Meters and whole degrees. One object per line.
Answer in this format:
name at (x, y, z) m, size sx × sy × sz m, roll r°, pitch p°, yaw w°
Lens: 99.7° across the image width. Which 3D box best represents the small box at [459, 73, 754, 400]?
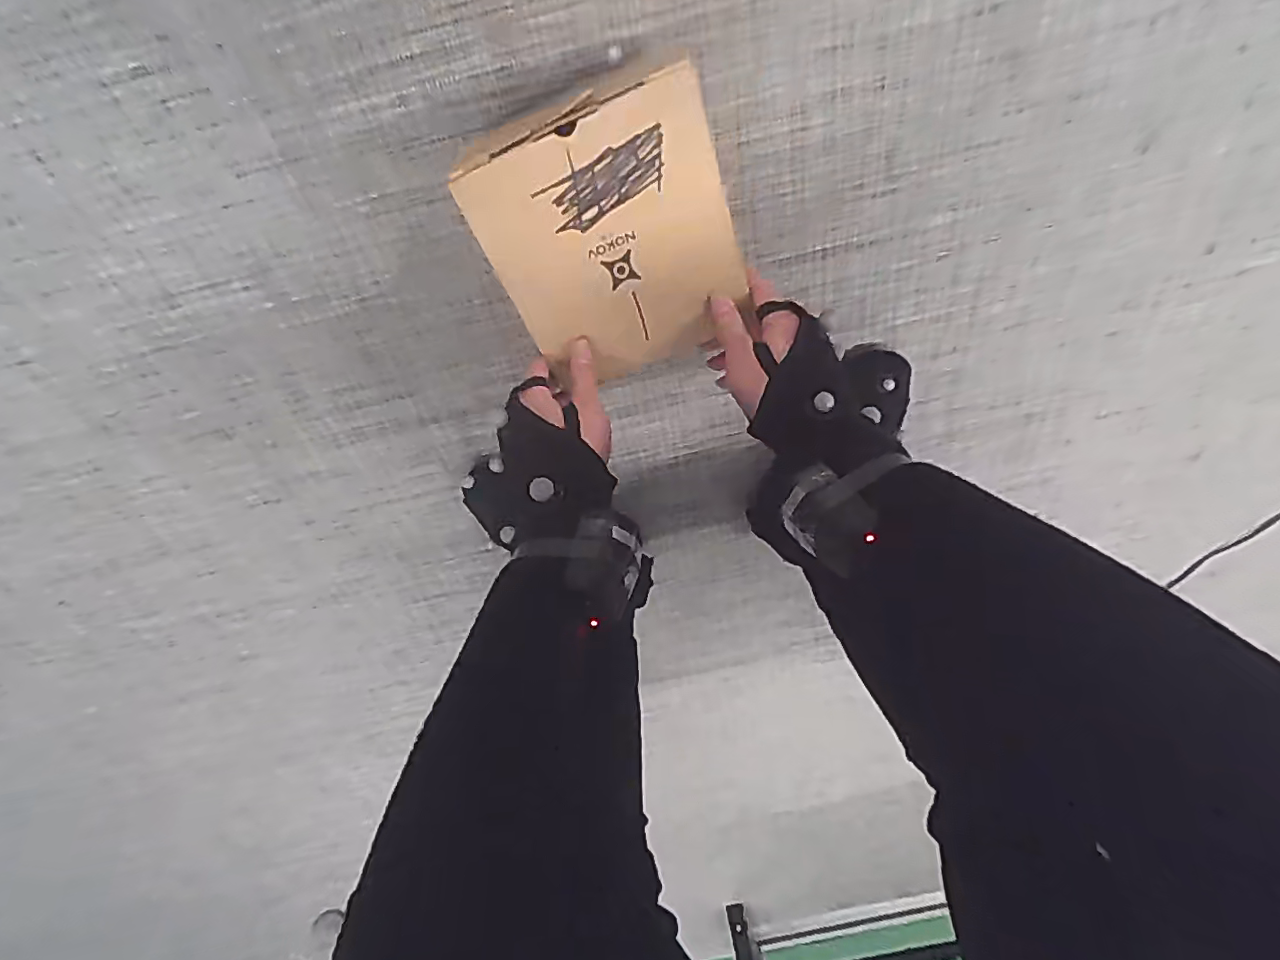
small box at (-0.023, -0.202, 0.450) m, size 0.168 × 0.176 × 0.179 m, roll -20°, pitch 126°, yaw 8°
